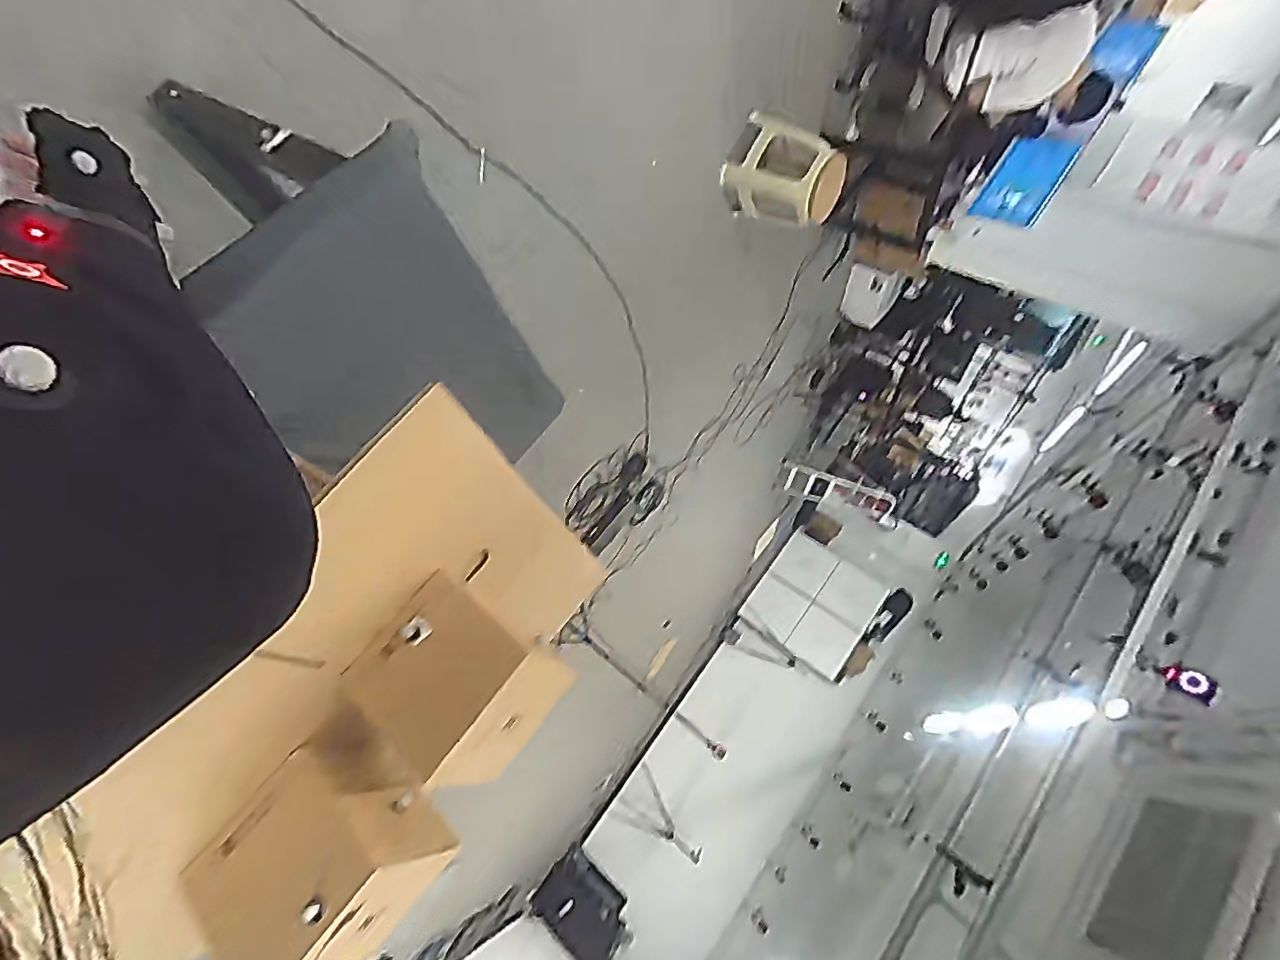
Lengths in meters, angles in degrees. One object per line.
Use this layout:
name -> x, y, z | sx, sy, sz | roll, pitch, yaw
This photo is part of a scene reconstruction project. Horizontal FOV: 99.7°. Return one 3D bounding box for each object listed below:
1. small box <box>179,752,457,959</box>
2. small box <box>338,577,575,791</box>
small box -> -0.354, 0.436, 0.615 | 0.168, 0.176, 0.179 | -50, 155, -14
small box -> -0.214, 0.243, 0.658 | 0.168, 0.176, 0.179 | -52, 153, -14
